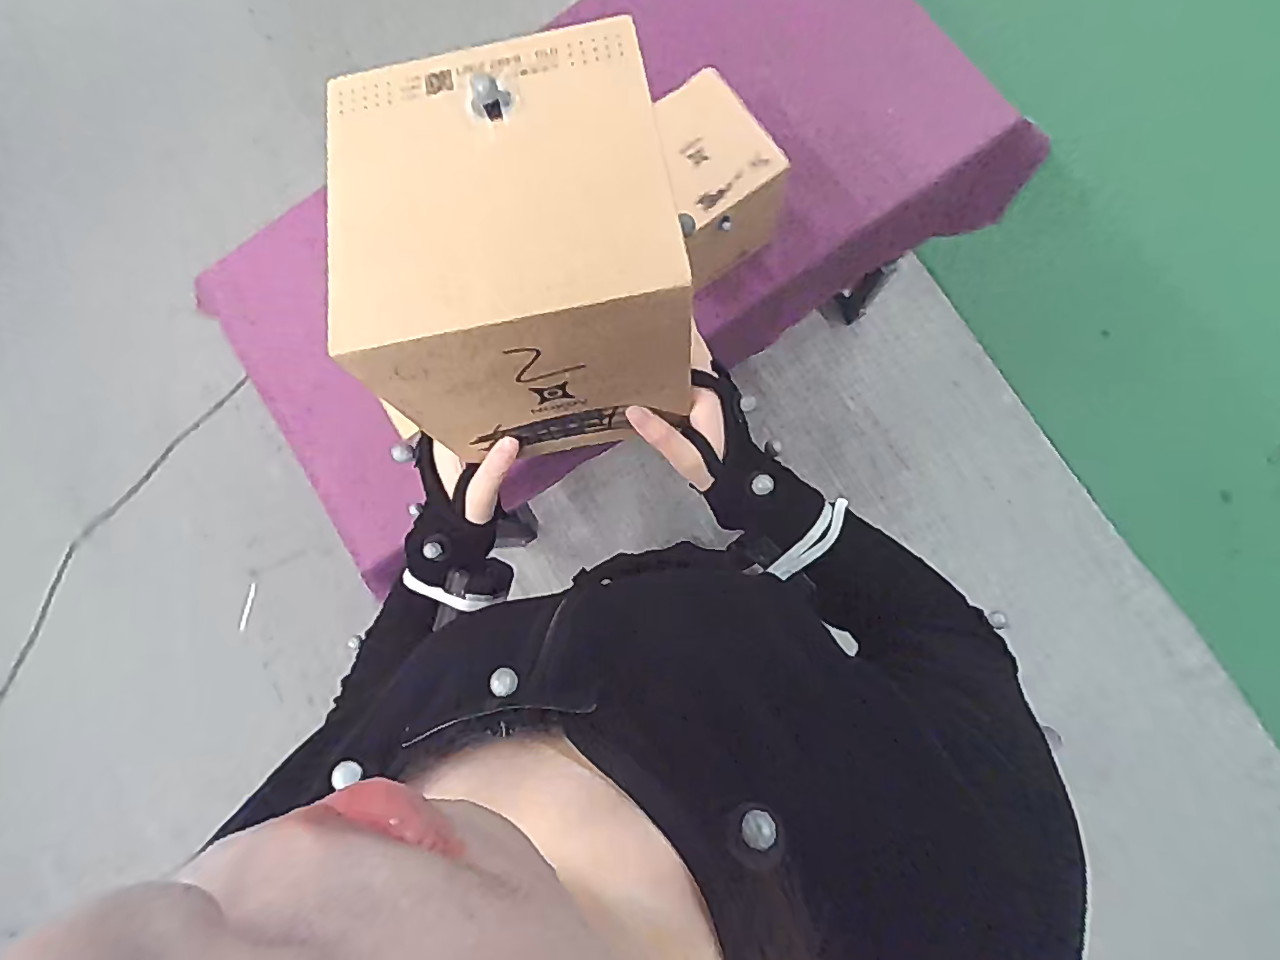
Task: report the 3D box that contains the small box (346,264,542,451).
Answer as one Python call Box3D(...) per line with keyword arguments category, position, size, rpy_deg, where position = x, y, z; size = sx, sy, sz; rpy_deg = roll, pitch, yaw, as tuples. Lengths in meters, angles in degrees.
Box3D(category="small box", position=(-0.267, -0.161, 0.774), size=(0.168, 0.176, 0.179), rpy_deg=(-33, 82, 3))

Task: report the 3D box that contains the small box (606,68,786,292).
Box3D(category="small box", position=(0.076, -0.403, 0.756), size=(0.168, 0.176, 0.179), rpy_deg=(-34, 81, 3))
